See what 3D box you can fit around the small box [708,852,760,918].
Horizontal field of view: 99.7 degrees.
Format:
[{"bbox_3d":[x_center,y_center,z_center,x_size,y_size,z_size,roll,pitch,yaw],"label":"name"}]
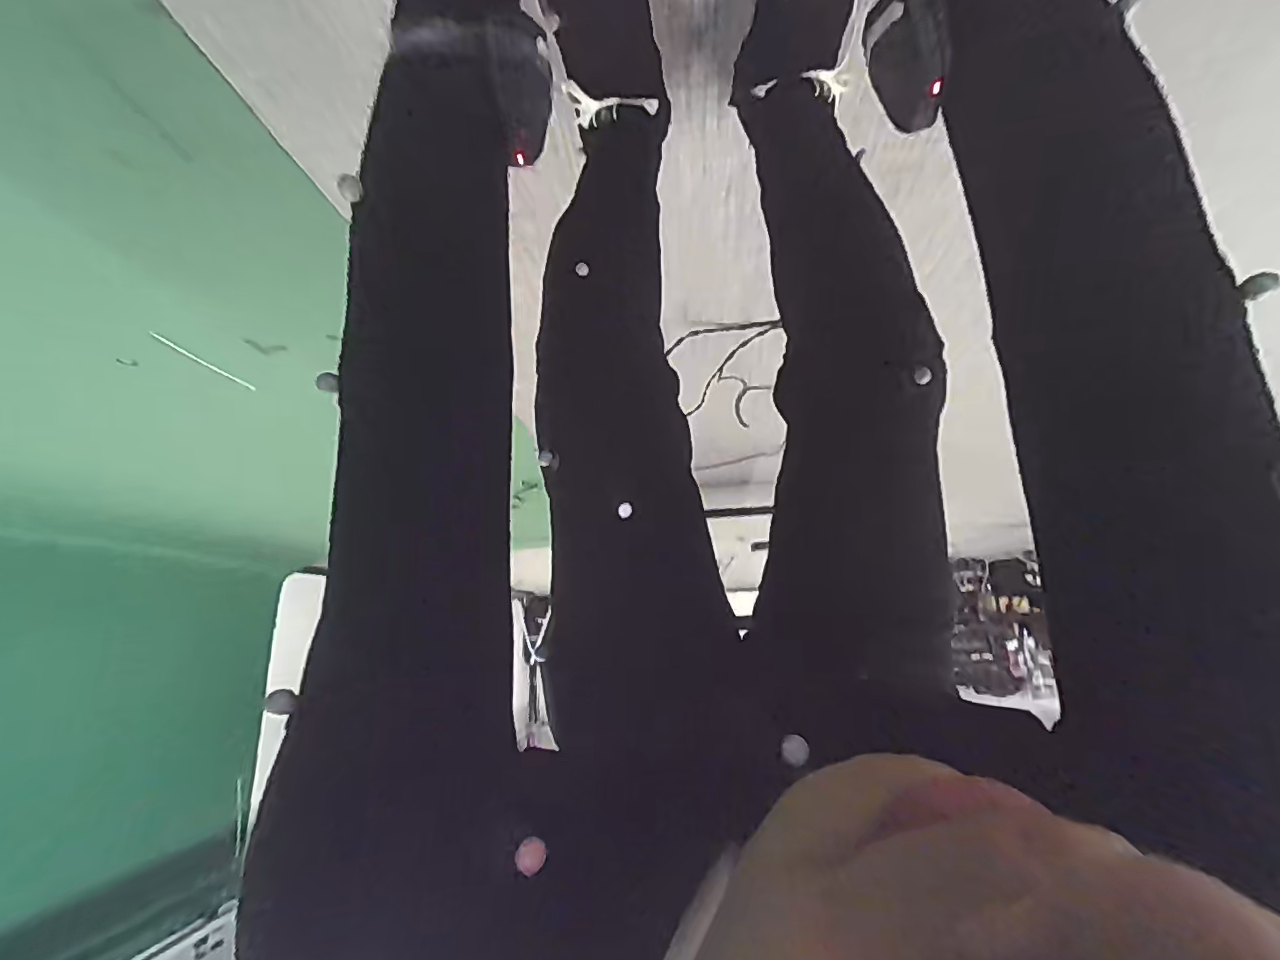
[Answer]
[{"bbox_3d":[0.370,1.600,2.152,0.179,0.176,0.168,-4,165,4],"label":"small box"}]
